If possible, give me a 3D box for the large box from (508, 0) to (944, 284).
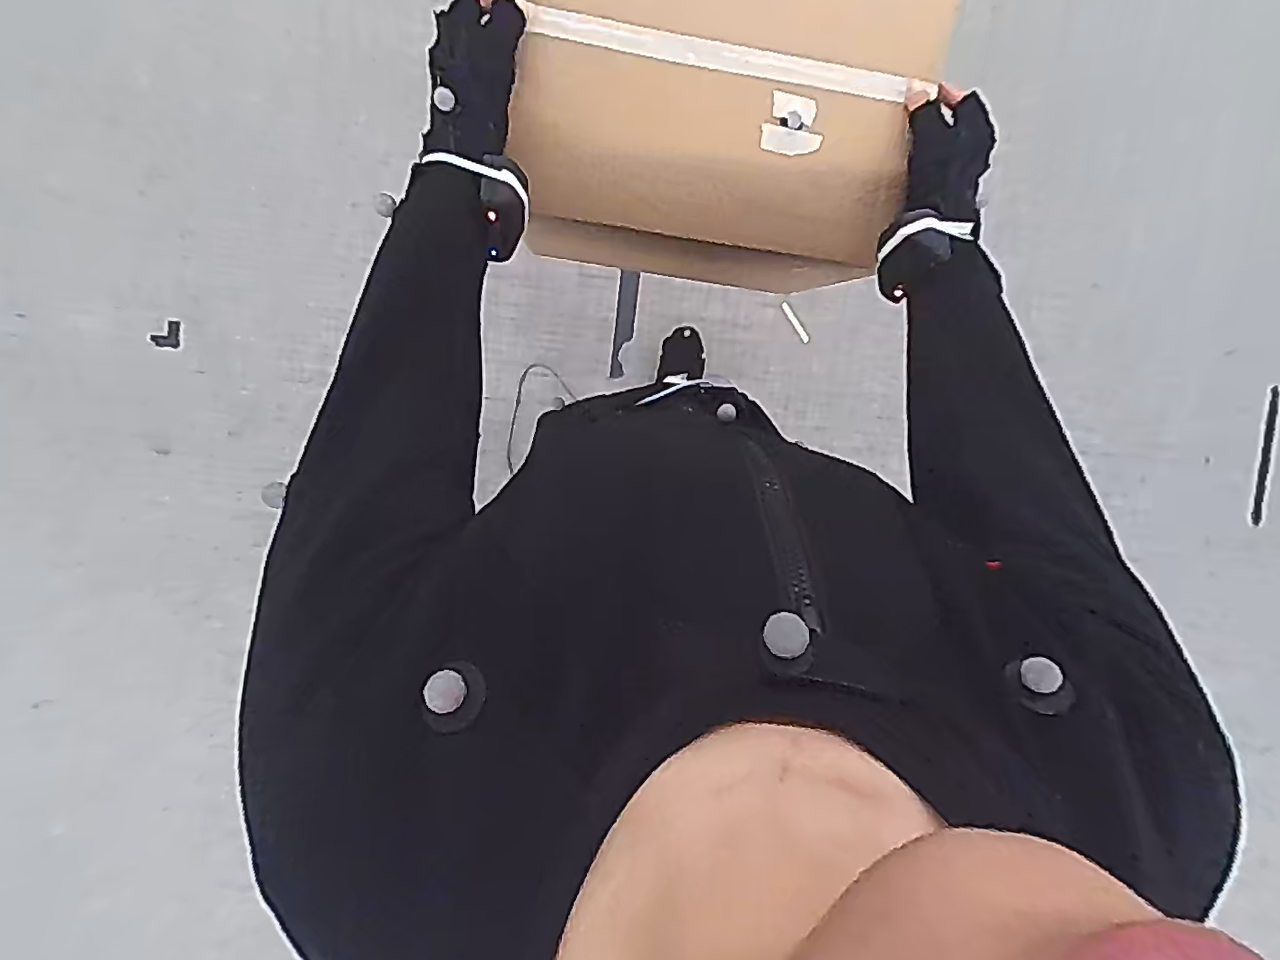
[{"bbox_3d":[0.068,-0.435,0.652,0.408,0.320,0.320,6,105,-7],"label":"large box"}]
